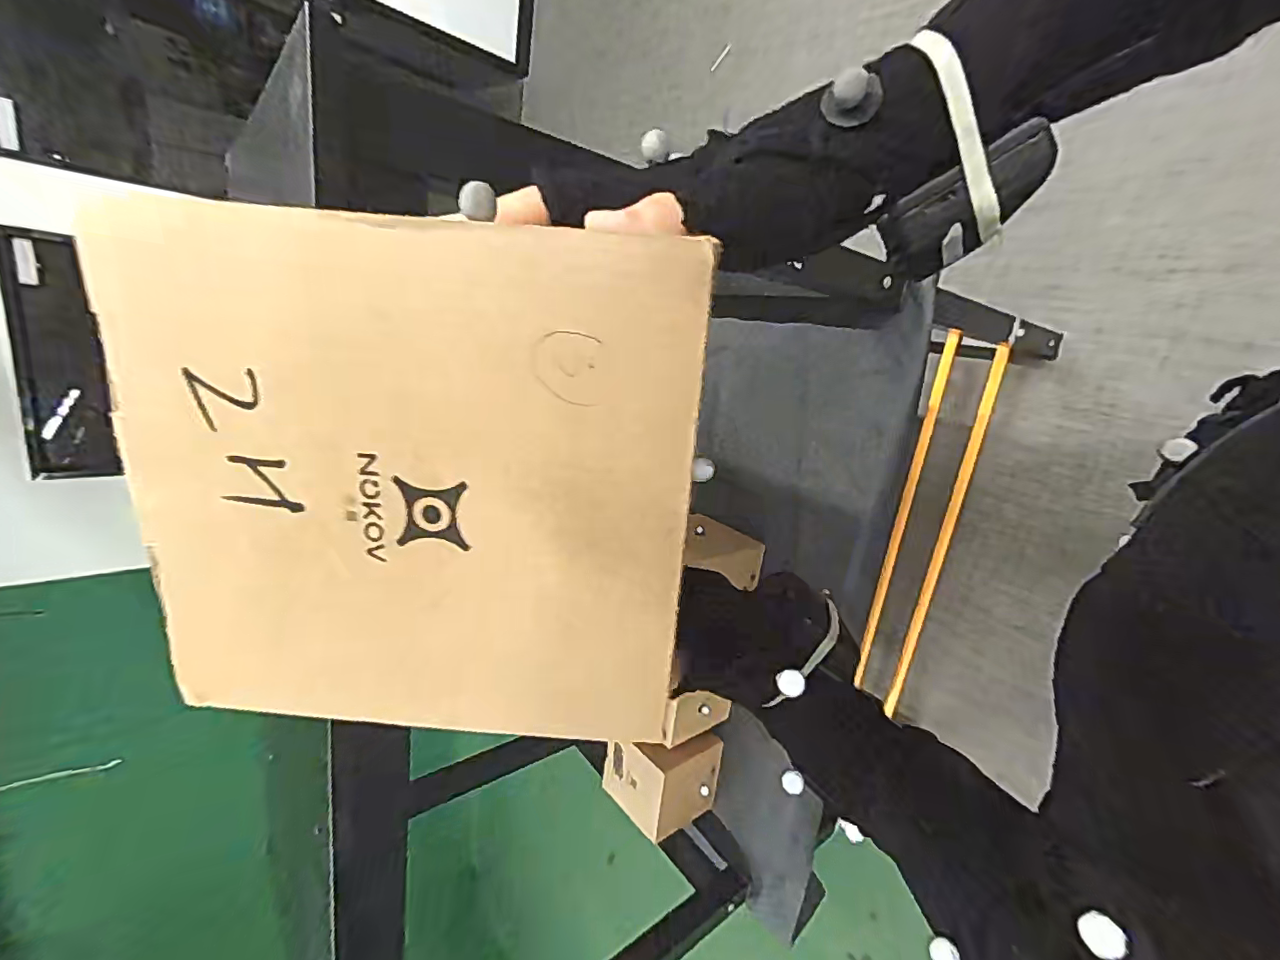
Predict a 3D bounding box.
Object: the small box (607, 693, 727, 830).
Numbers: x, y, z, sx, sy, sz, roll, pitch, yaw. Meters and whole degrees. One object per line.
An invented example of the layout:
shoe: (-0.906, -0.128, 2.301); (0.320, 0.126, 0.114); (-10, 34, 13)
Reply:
small box: (0.055, 0.577, 1.141); (0.179, 0.176, 0.168); (22, 111, 48)
